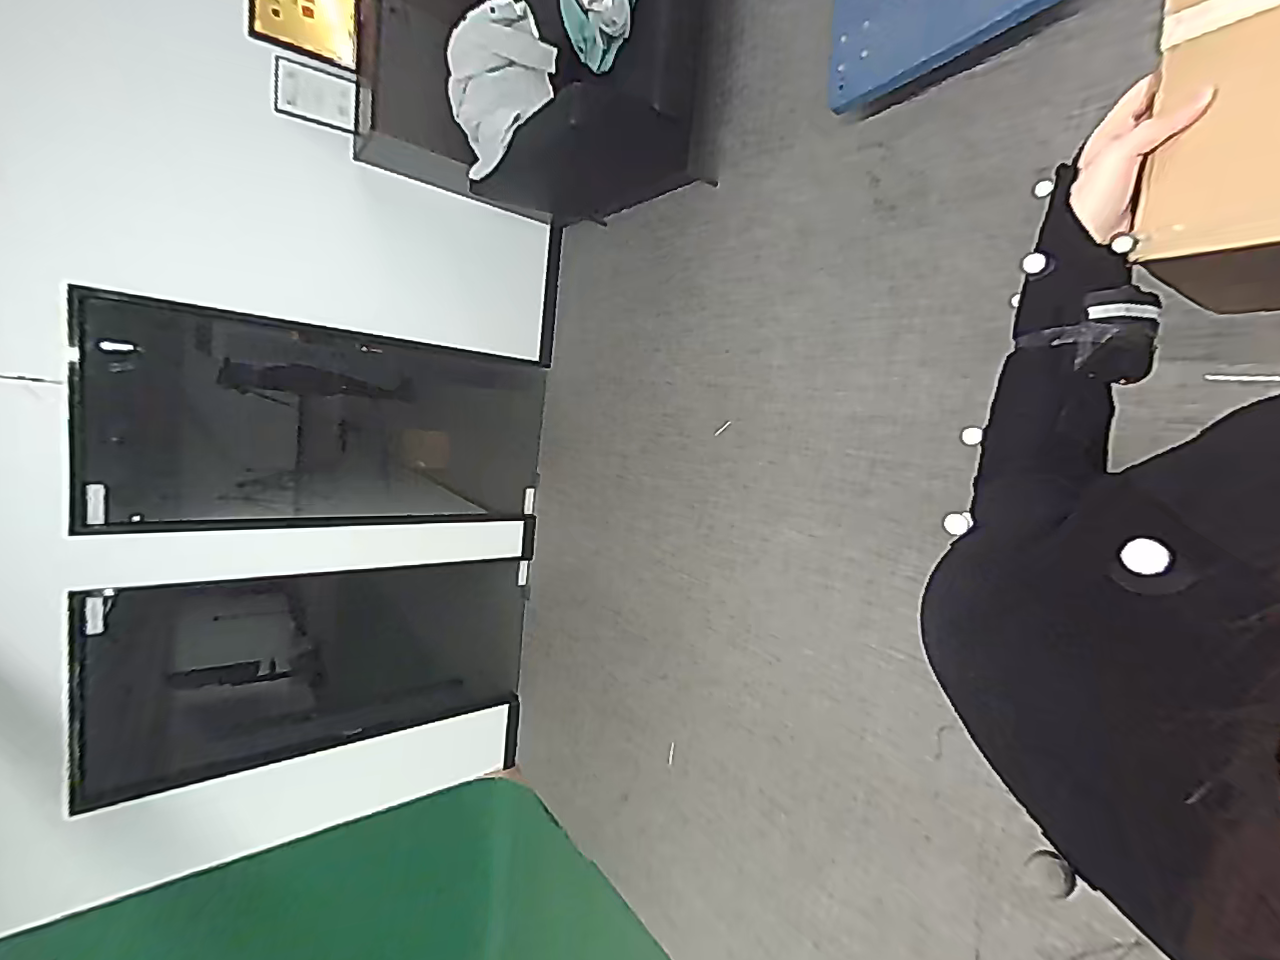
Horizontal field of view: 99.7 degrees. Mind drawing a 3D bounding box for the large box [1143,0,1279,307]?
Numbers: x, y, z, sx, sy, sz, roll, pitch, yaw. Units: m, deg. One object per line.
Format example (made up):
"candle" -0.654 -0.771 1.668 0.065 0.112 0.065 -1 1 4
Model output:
"large box" 0.631 -0.303 0.323 0.408 0.320 0.320 13 103 55
